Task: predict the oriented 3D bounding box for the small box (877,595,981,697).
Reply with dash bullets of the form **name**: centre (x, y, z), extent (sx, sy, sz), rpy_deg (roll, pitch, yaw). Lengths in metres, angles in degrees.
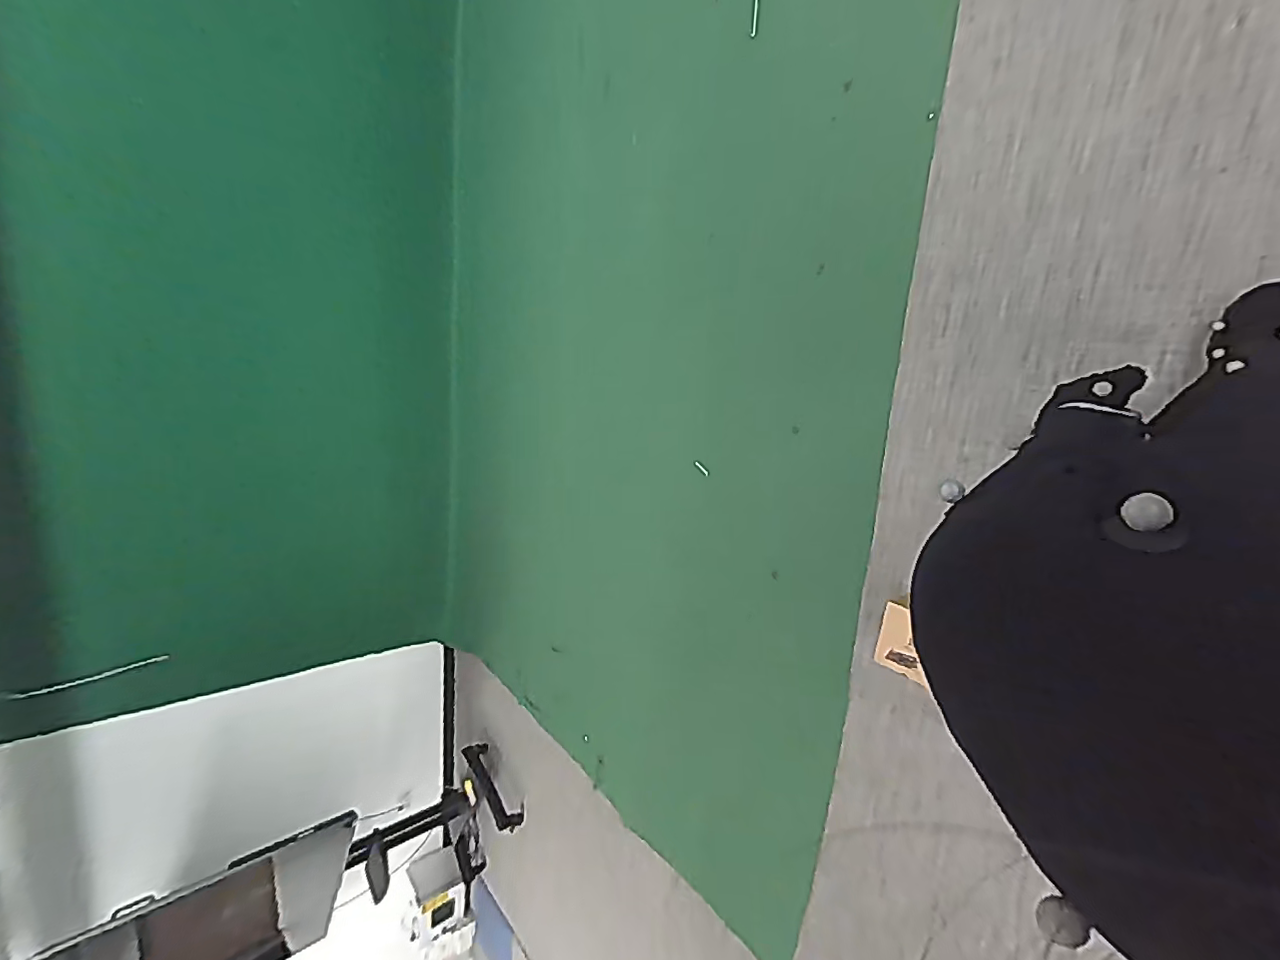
- **small box**: centre (0.740, 0.414, 1.380), extent (0.168, 0.176, 0.179), rpy_deg (21, 107, 47)
